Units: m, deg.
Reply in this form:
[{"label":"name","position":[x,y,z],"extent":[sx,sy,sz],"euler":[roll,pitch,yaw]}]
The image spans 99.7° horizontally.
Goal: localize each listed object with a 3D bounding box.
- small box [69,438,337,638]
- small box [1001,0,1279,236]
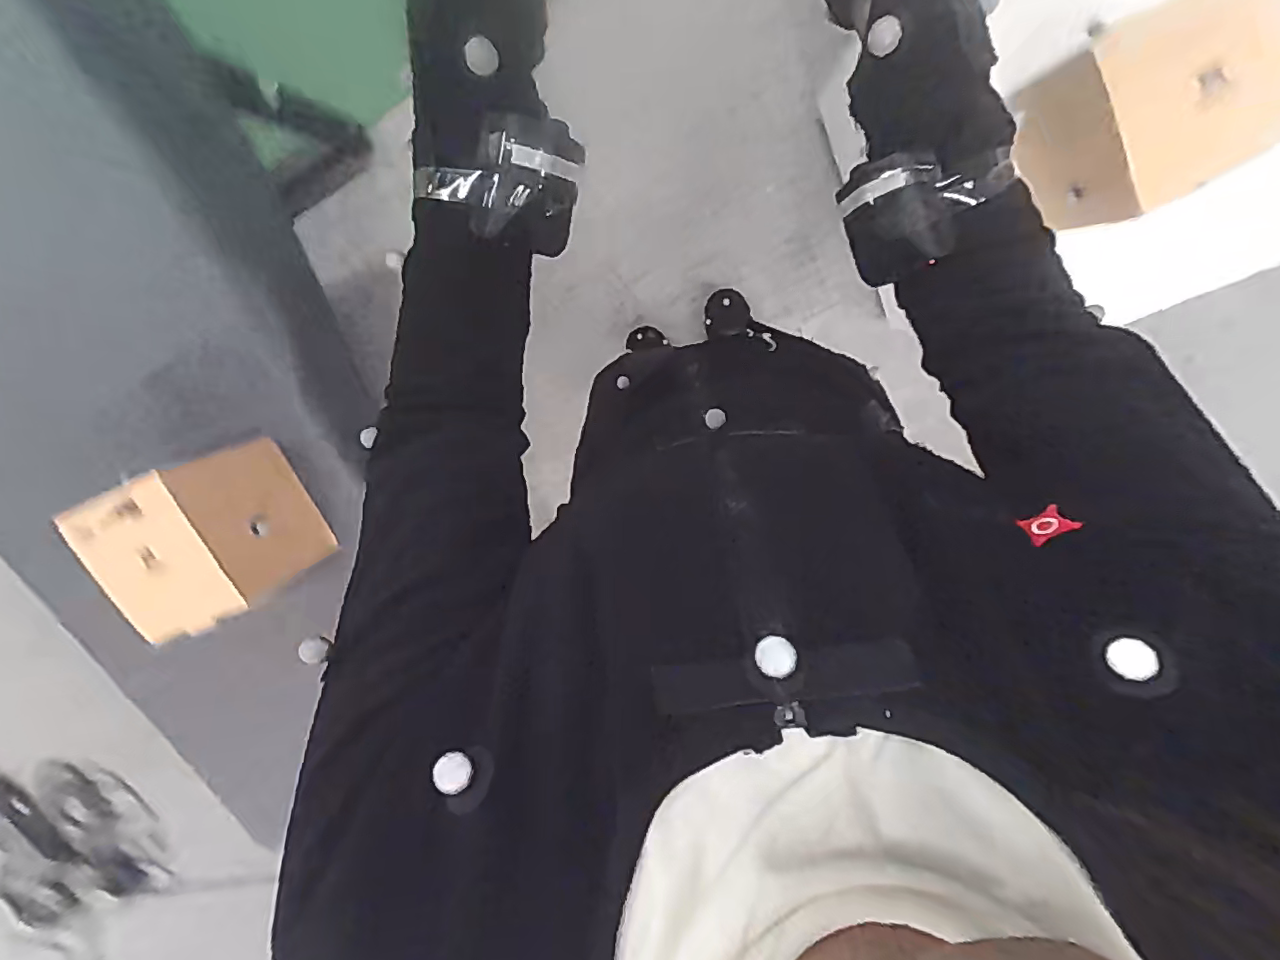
[{"label":"small box","position":[-0.542,0.067,0.701],"extent":[0.168,0.176,0.179],"euler":[-20,106,14]},{"label":"small box","position":[0.526,-0.377,0.563],"extent":[0.168,0.176,0.179],"euler":[-28,103,14]}]
